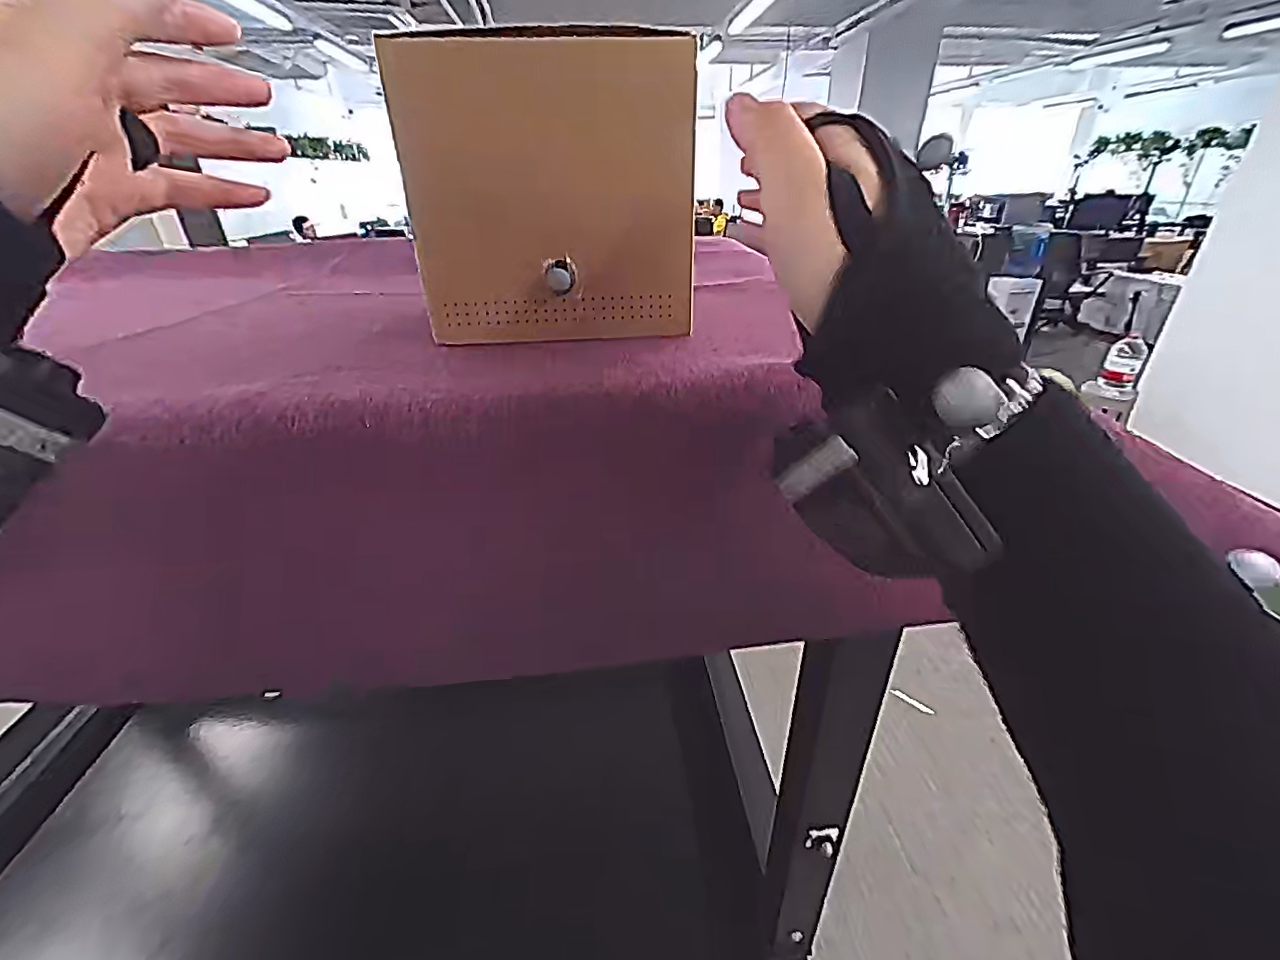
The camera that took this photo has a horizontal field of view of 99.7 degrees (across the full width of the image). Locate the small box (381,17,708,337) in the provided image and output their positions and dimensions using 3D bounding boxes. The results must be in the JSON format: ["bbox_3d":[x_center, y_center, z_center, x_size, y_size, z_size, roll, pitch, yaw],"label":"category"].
[{"bbox_3d":[-0.055,-0.207,0.394,0.179,0.176,0.168,-3,28,-4],"label":"small box"}]
